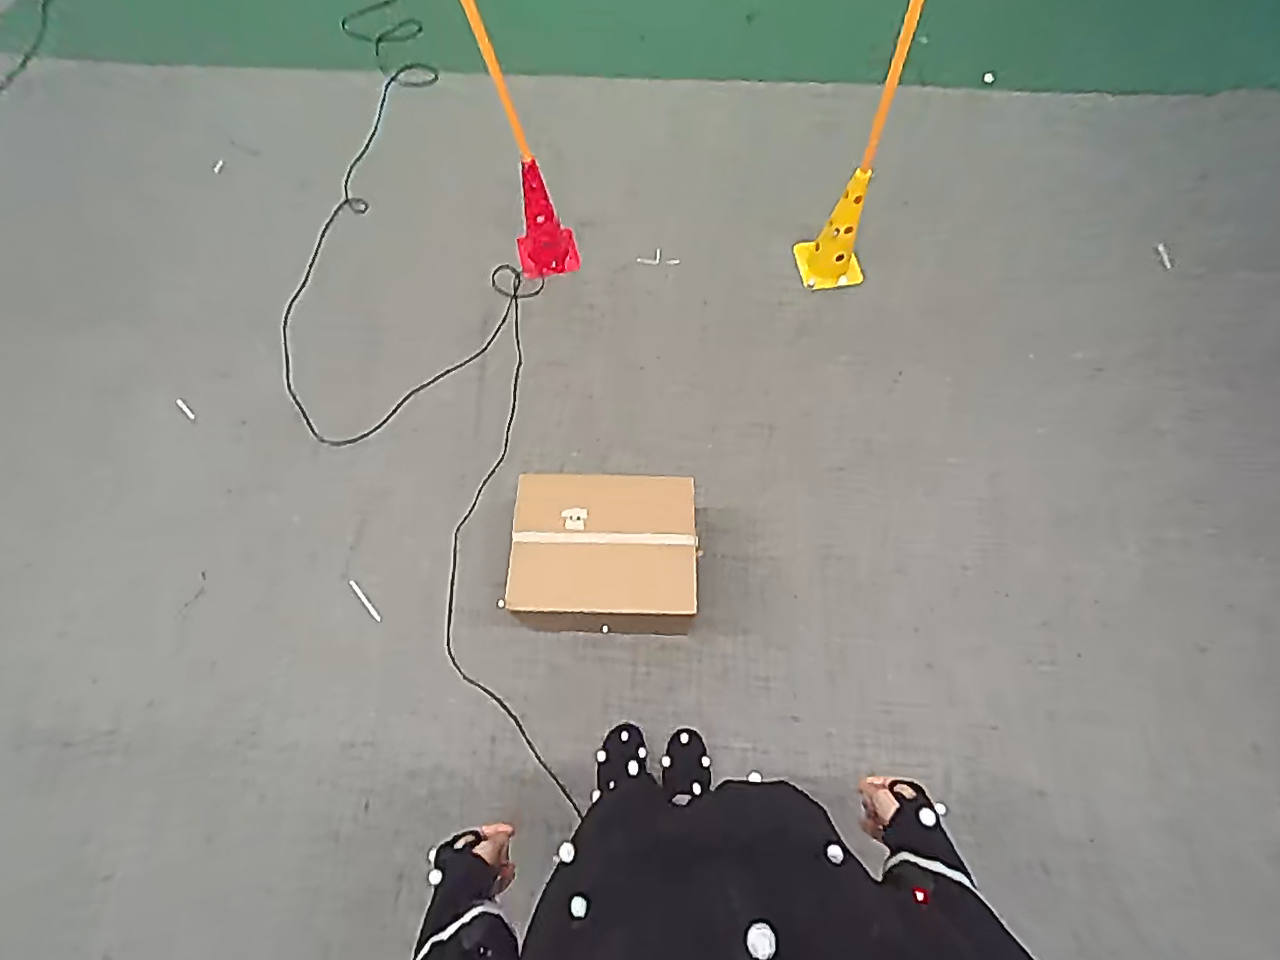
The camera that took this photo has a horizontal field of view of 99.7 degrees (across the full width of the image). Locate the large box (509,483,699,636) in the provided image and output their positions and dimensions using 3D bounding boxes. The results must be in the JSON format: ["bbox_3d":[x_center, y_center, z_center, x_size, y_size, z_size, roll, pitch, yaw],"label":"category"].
[{"bbox_3d":[-0.070,0.208,1.323,0.408,0.320,0.320,1,66,2],"label":"large box"}]
